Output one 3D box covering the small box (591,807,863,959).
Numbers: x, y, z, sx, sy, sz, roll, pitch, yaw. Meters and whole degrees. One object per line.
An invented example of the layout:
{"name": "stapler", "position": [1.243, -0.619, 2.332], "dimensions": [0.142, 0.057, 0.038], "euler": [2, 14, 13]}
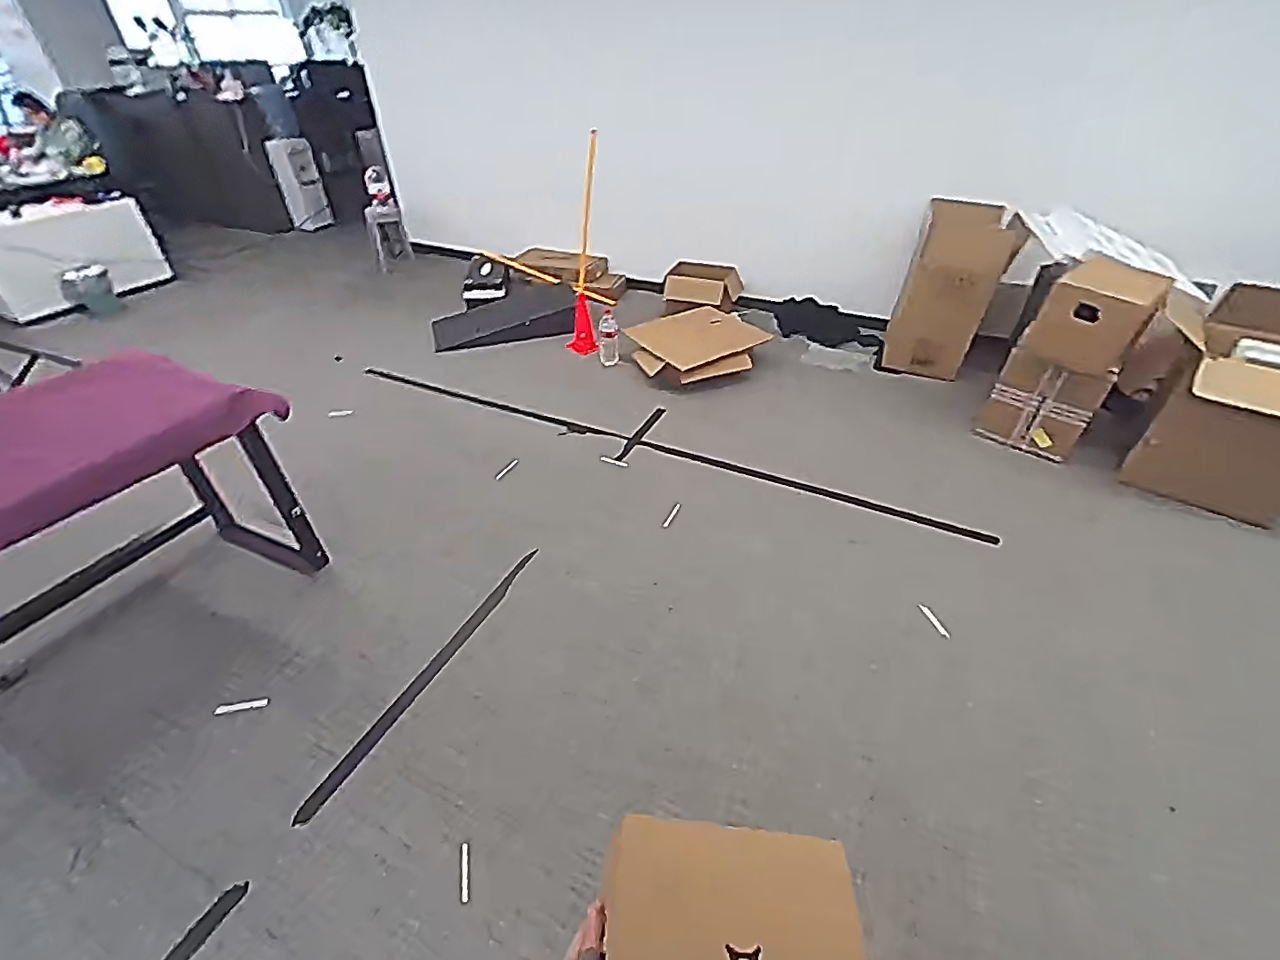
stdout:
{"name": "small box", "position": [0.050, 0.367, 0.381], "dimensions": [0.168, 0.176, 0.179], "euler": [9, 39, -2]}
